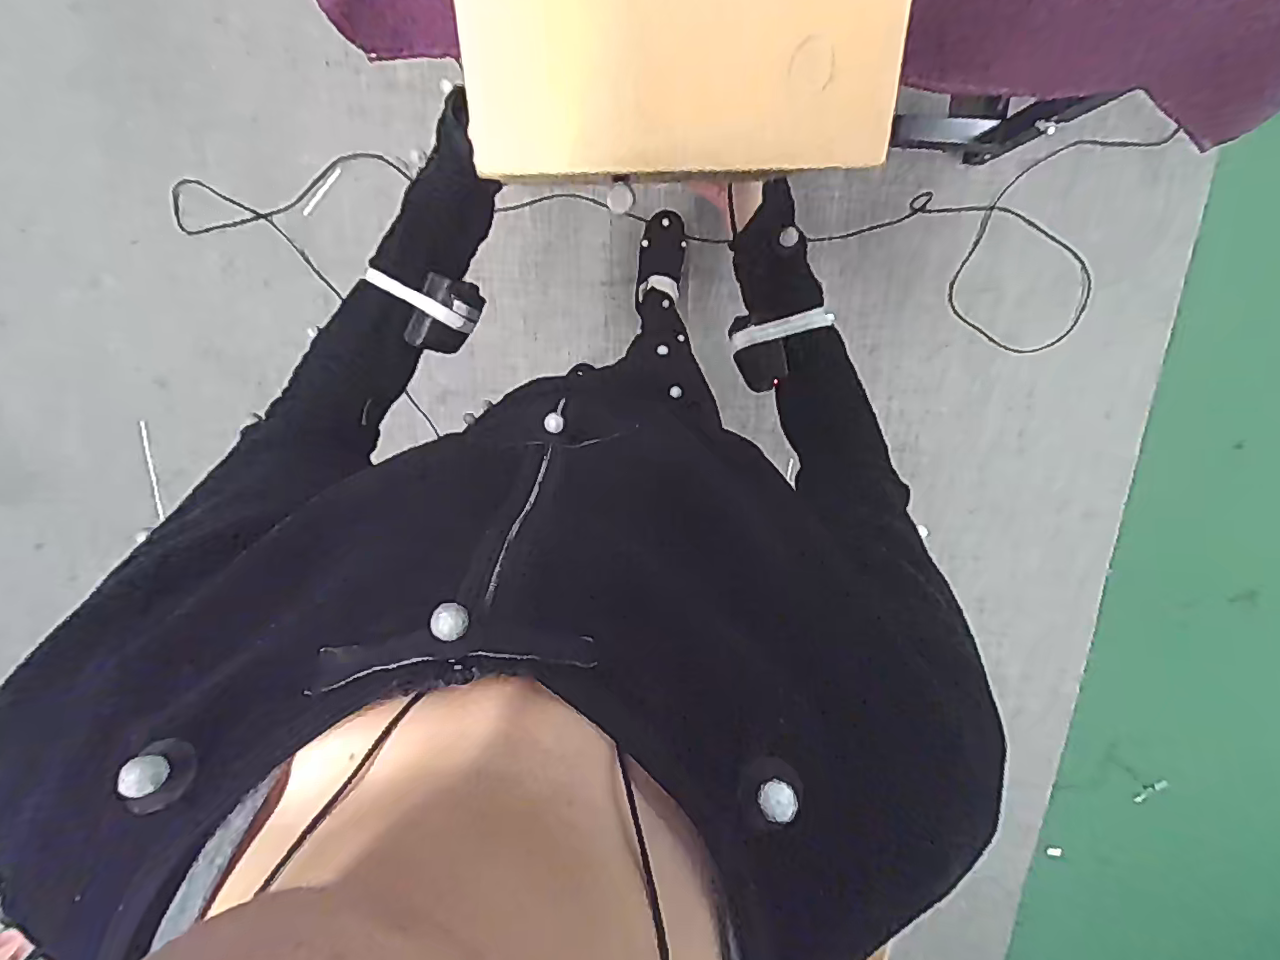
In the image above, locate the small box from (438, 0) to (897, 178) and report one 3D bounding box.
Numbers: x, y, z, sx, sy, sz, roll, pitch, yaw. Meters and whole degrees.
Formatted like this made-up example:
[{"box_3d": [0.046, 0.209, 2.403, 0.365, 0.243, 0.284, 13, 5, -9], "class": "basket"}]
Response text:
[{"box_3d": [0.006, -0.239, 0.245, 0.168, 0.176, 0.179, -3, 116, -3], "class": "small box"}]
